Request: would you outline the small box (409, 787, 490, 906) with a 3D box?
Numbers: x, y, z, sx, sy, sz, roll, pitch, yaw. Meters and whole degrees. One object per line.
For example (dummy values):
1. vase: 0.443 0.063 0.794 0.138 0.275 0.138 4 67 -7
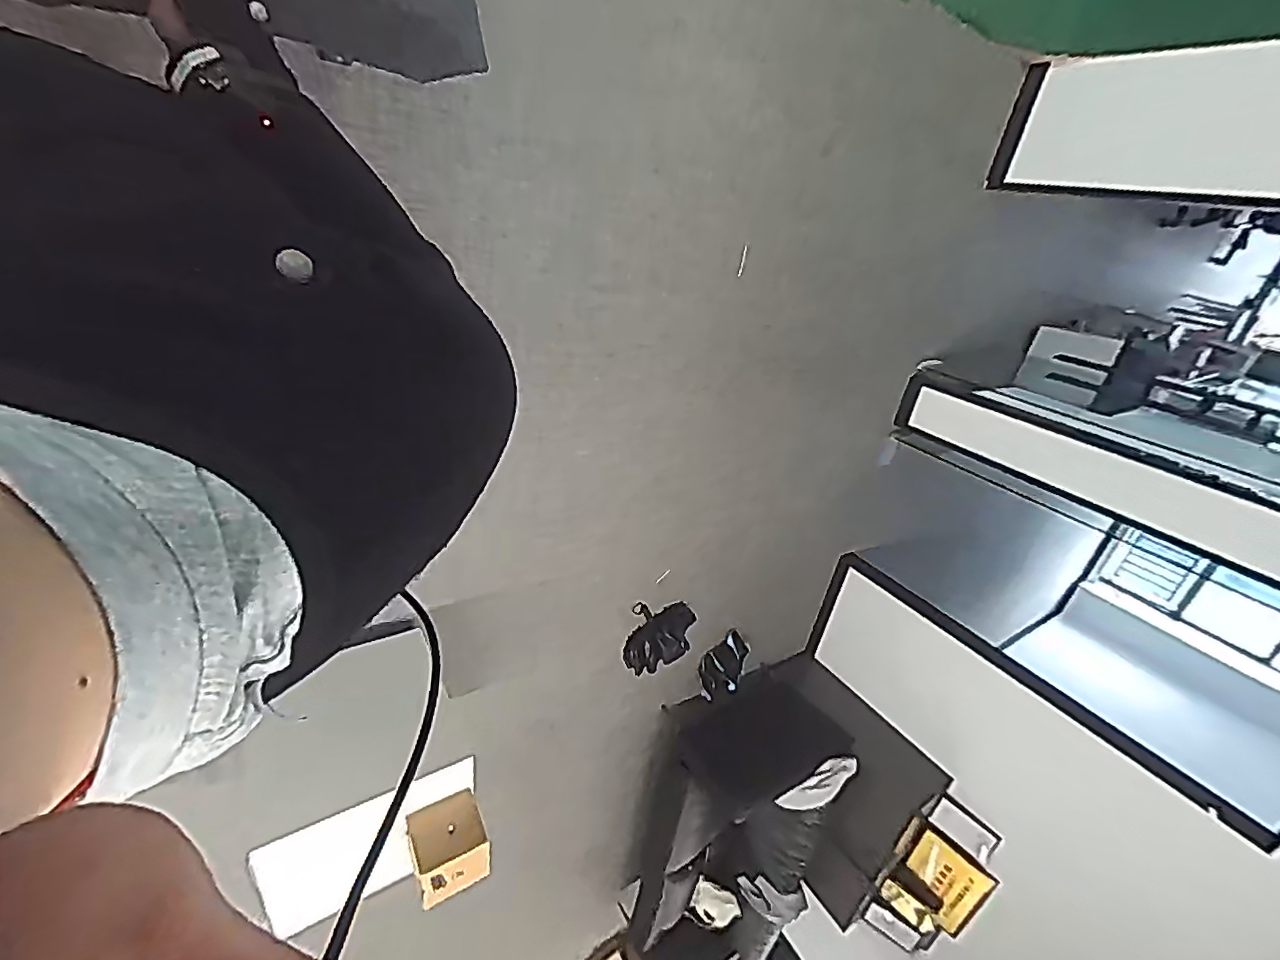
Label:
1. small box: -0.518 0.981 1.461 0.179 0.176 0.168 -11 124 -33
